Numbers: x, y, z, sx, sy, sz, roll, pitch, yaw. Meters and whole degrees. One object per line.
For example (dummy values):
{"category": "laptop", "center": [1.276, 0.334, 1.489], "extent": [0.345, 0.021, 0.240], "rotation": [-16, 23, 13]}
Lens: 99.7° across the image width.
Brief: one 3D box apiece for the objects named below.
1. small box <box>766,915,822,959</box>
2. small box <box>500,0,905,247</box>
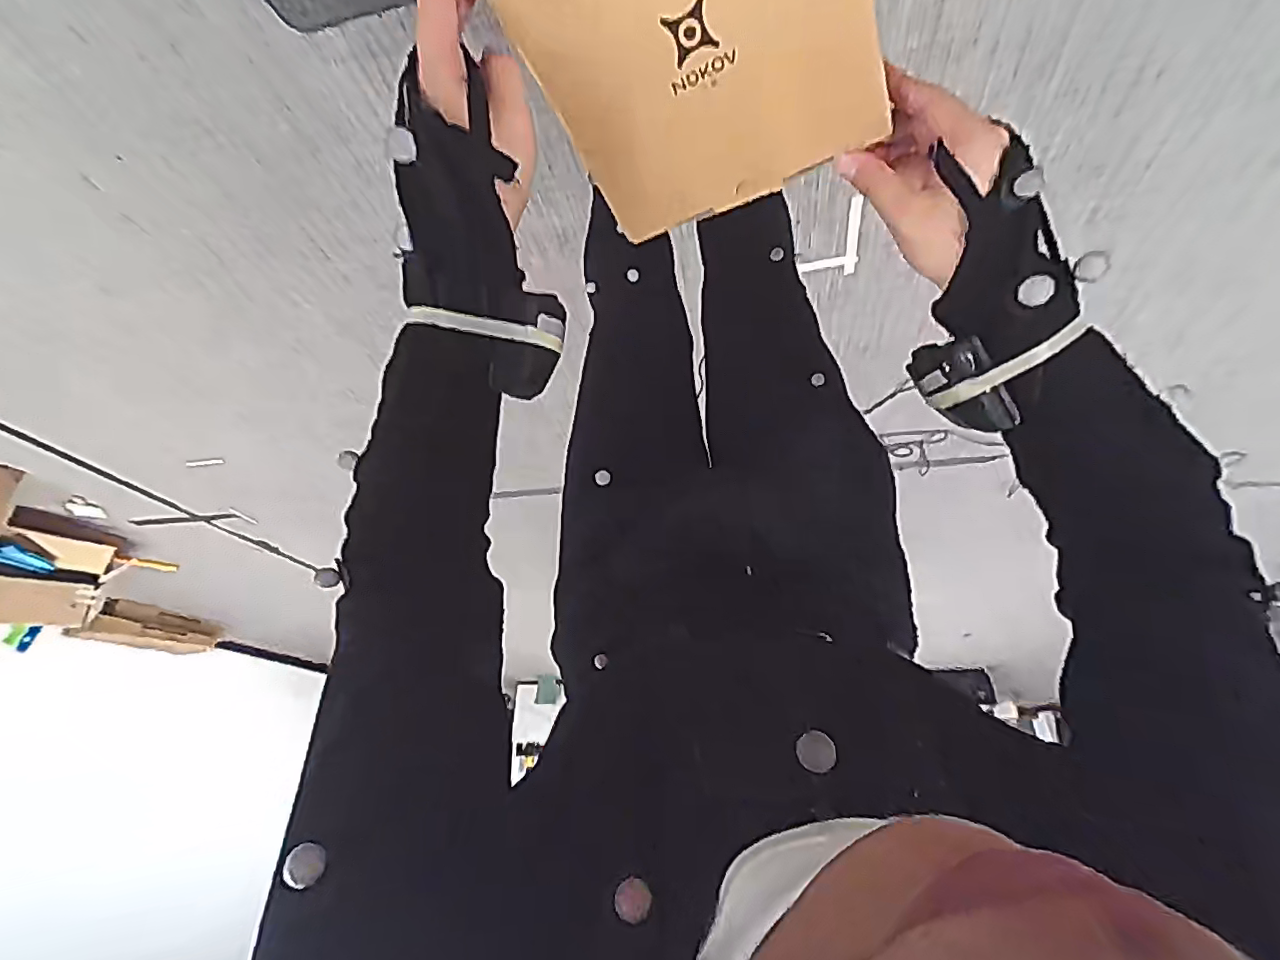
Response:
{"category": "small box", "center": [0.556, 1.701, 1.963], "extent": [0.179, 0.176, 0.168], "rotation": [-5, 152, 6]}
{"category": "small box", "center": [0.039, -0.280, 0.305], "extent": [0.168, 0.176, 0.179], "rotation": [-11, 145, 27]}
